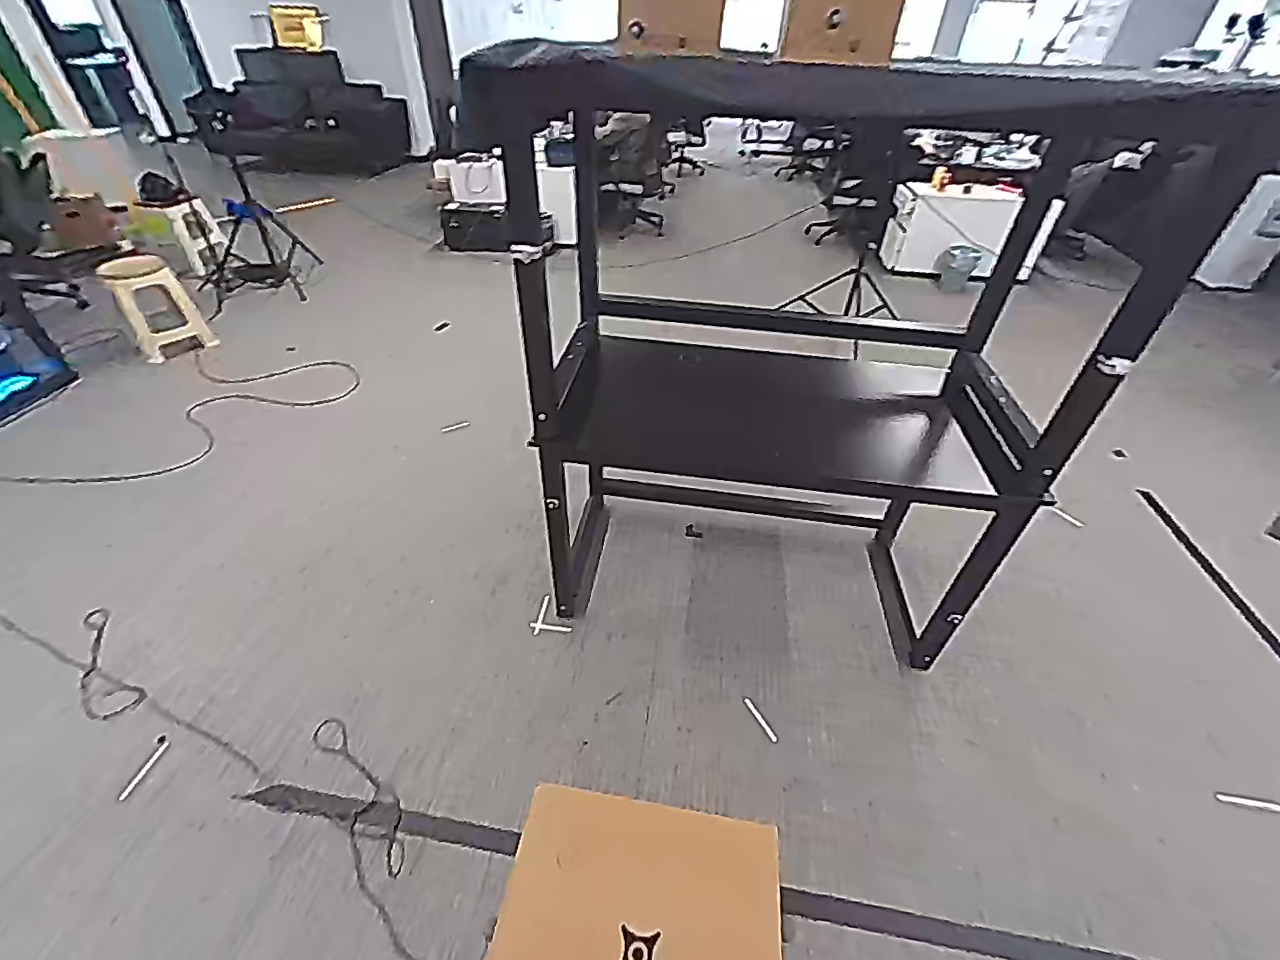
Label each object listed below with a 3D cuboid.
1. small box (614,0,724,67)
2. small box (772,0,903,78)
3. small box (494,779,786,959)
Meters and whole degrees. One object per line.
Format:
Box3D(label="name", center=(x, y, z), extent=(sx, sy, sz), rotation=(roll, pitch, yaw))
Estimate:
Box3D(label="small box", center=(0.050, -0.763, 0.856), extent=(0.168, 0.176, 0.179), rotation=(6, 38, 2))
Box3D(label="small box", center=(0.304, -0.738, 0.840), extent=(0.168, 0.176, 0.179), rotation=(6, 38, 5))
Box3D(label="small box", center=(-0.004, 0.333, 0.353), extent=(0.168, 0.176, 0.179), rotation=(8, 42, 6))
